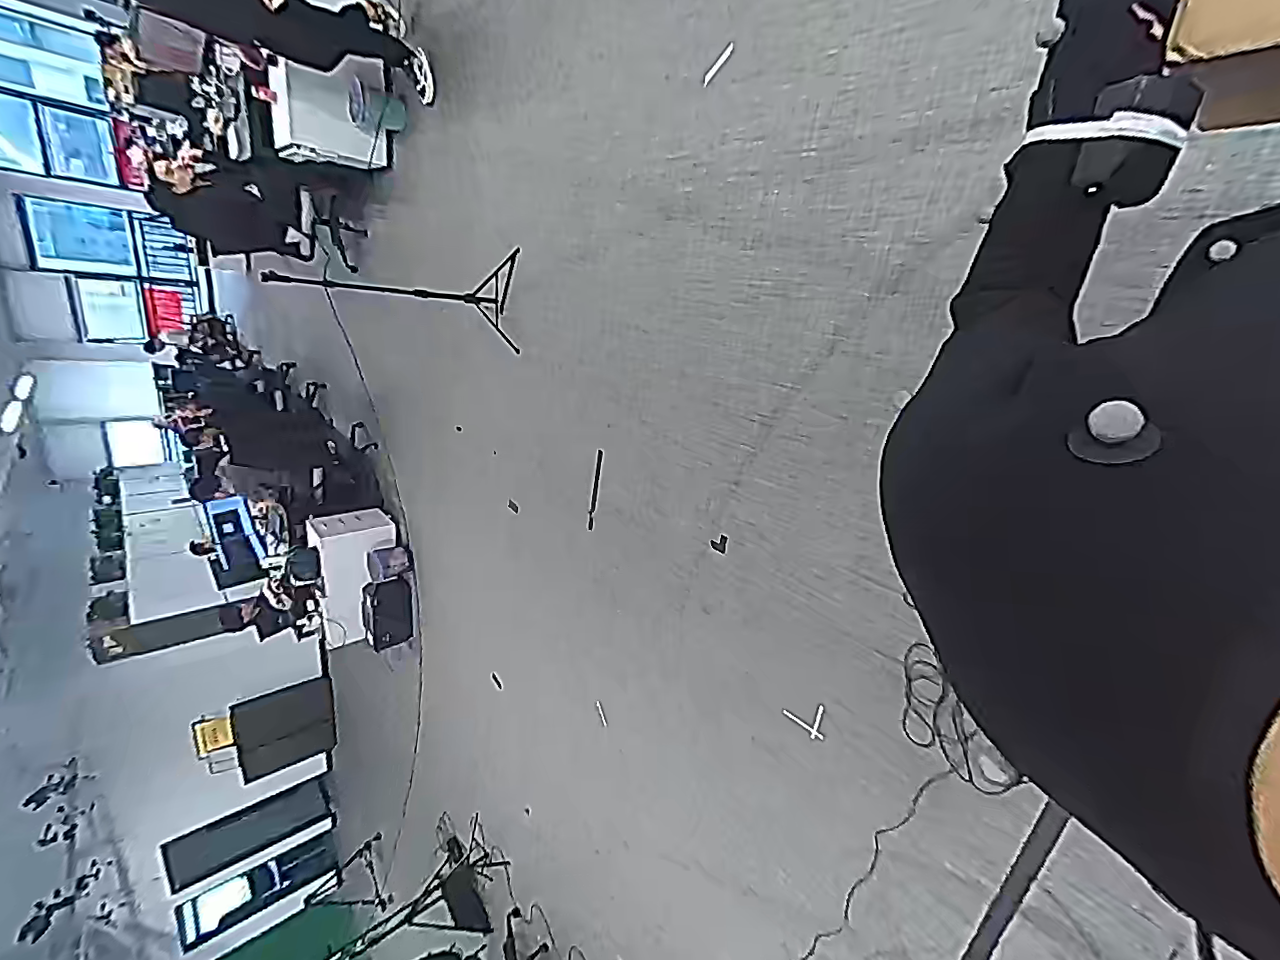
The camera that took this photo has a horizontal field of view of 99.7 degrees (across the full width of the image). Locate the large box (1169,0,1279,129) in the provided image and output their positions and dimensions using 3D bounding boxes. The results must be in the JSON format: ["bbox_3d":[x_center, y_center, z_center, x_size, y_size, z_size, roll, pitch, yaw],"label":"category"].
[{"bbox_3d":[0.585,-0.409,0.265,0.408,0.320,0.320,20,121,43],"label":"large box"}]
